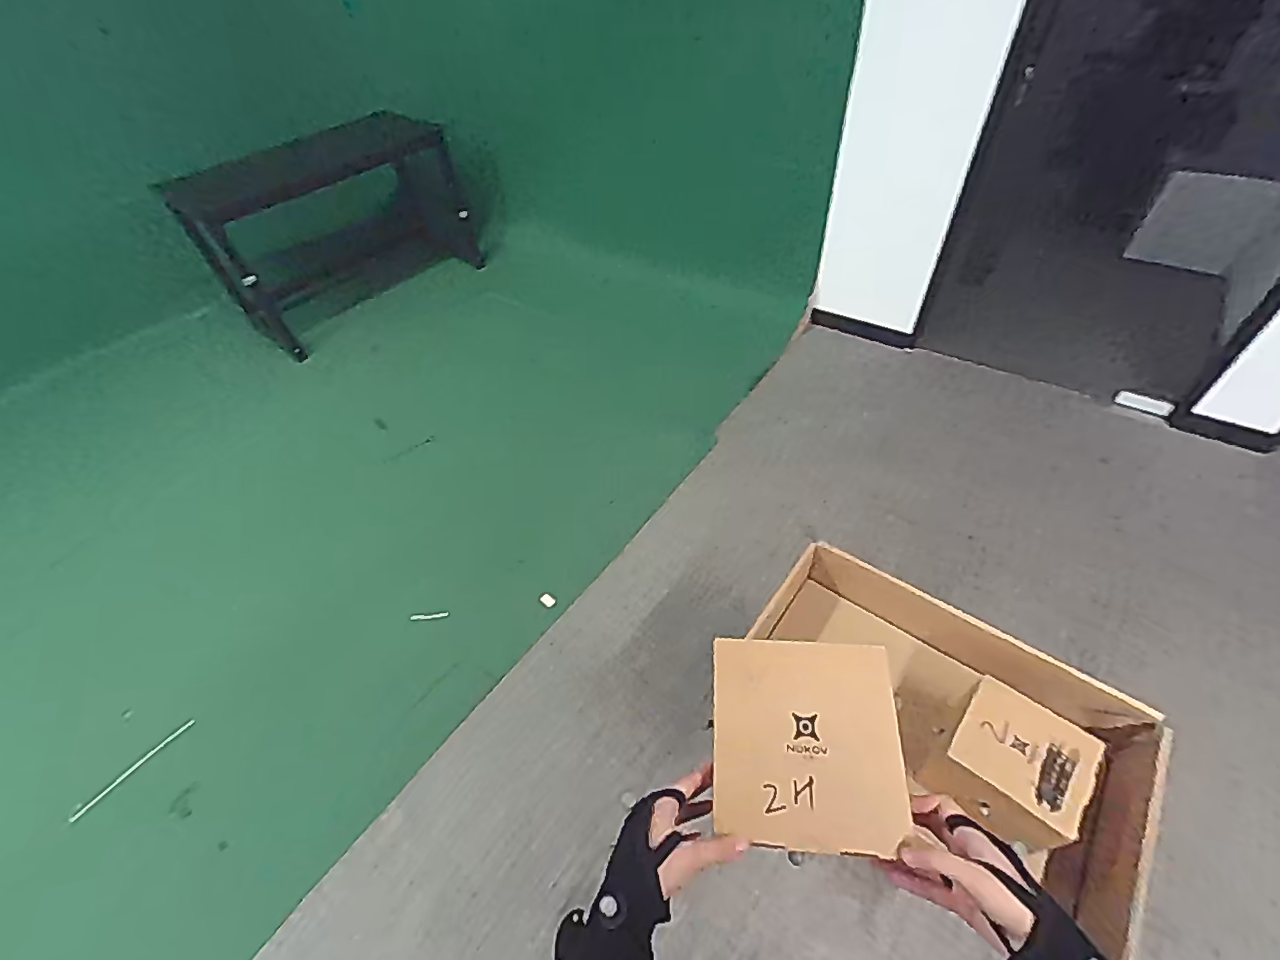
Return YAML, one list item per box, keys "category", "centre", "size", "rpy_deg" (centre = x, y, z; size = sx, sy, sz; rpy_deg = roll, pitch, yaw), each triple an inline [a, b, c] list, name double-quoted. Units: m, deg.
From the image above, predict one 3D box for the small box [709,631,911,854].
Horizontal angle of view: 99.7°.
- category: "small box"
  centre: [0.156, 0.268, 0.558]
  size: [0.168, 0.176, 0.179]
  rpy_deg: [-1, 59, 9]
